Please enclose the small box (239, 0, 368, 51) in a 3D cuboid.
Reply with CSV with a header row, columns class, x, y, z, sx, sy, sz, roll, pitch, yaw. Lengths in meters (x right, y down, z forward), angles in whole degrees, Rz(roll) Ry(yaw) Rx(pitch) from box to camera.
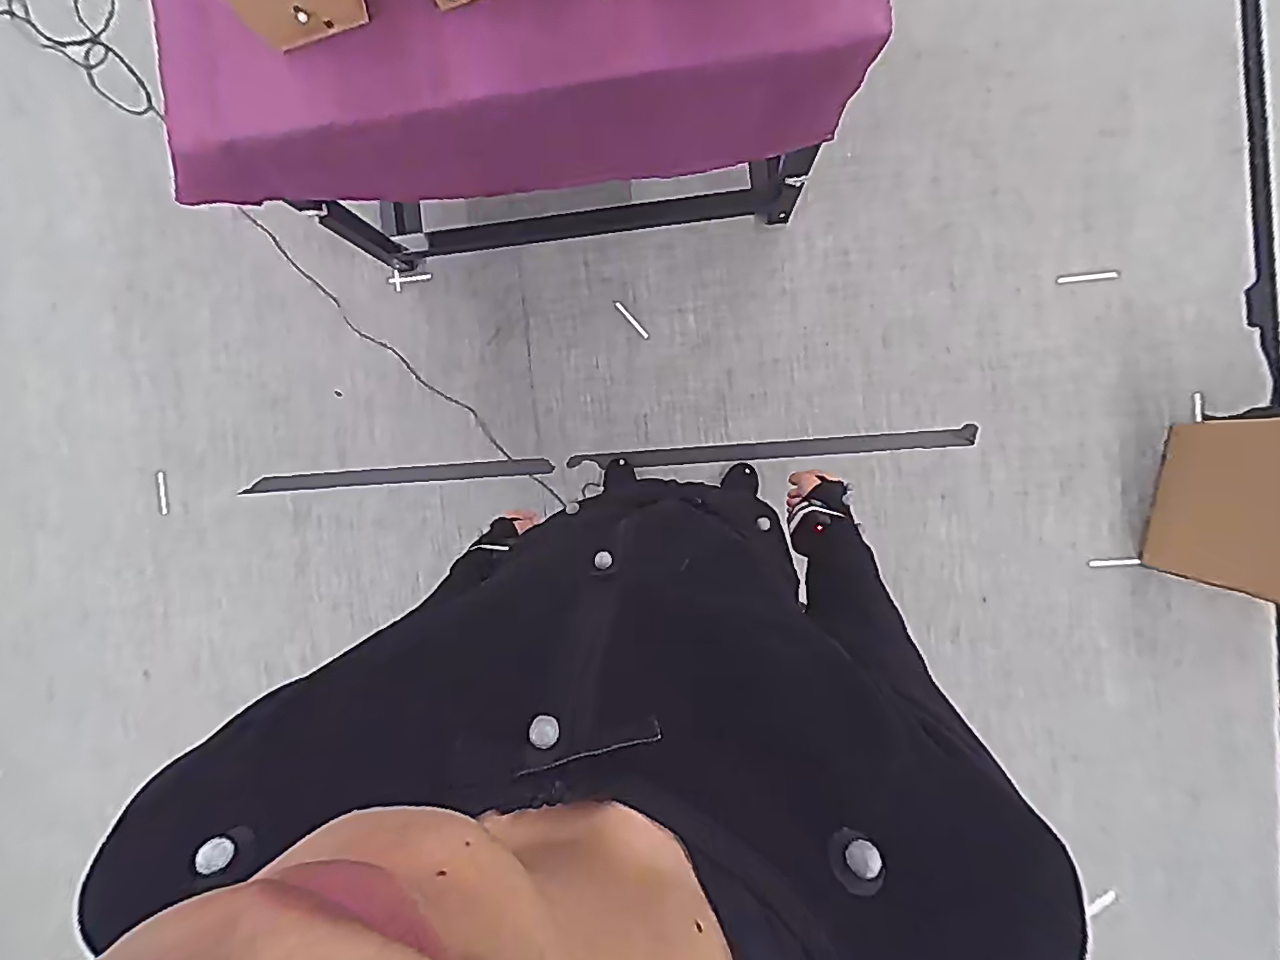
class,x,y,z,sx,sy,sz,roll,pitch,yaw
small box,-0.553,-0.821,0.827,0.168,0.176,0.179,-13,92,6
